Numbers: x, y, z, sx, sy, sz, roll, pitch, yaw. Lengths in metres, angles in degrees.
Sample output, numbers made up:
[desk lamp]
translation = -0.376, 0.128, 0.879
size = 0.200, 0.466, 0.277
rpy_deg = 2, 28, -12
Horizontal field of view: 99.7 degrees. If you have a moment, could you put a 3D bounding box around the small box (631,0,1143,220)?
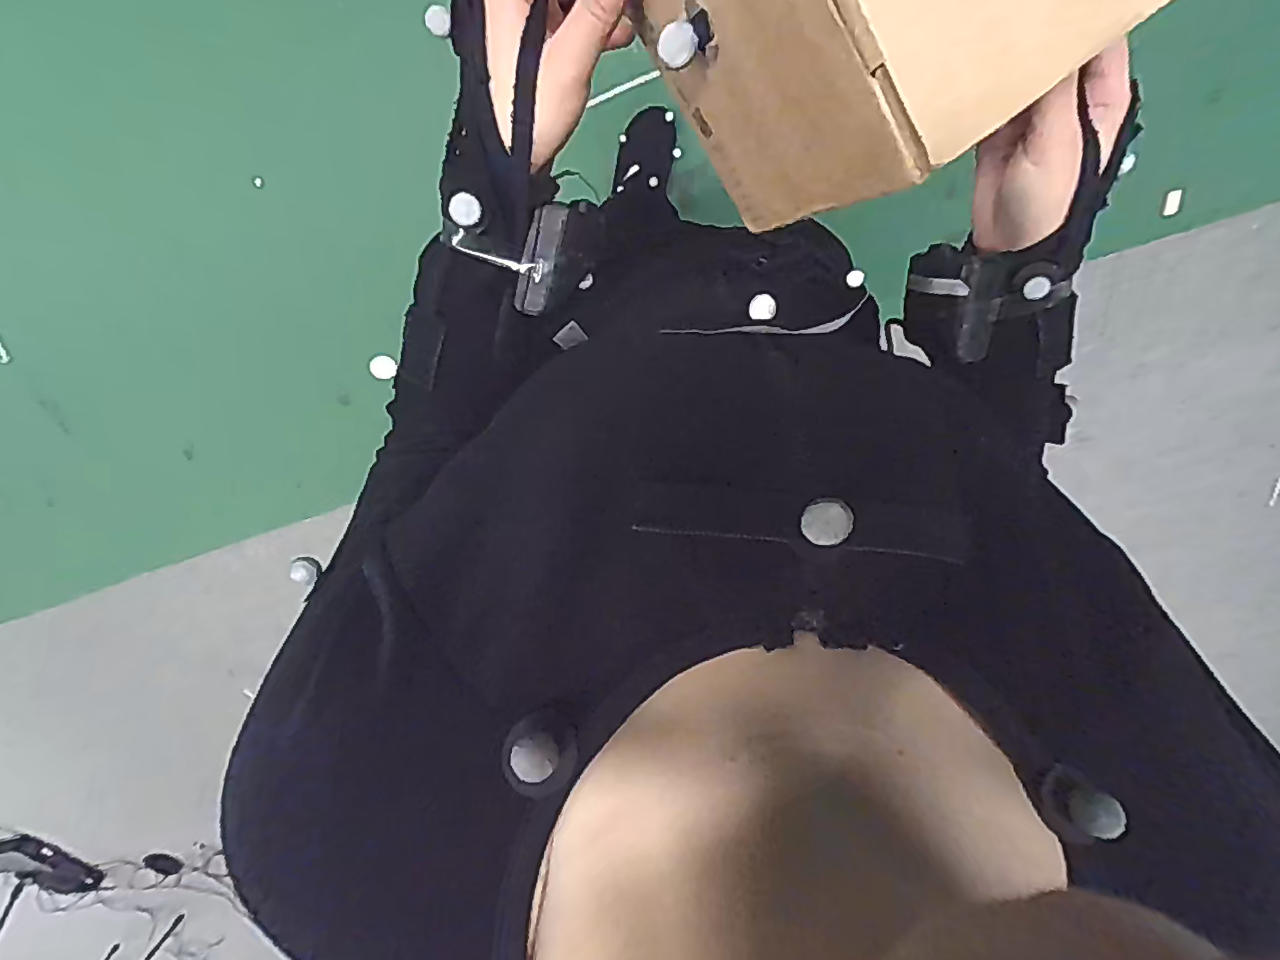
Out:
[small box]
translation = 0.090, -0.219, 0.189
size = 0.179, 0.176, 0.168
rpy_deg = -35, 108, 9
